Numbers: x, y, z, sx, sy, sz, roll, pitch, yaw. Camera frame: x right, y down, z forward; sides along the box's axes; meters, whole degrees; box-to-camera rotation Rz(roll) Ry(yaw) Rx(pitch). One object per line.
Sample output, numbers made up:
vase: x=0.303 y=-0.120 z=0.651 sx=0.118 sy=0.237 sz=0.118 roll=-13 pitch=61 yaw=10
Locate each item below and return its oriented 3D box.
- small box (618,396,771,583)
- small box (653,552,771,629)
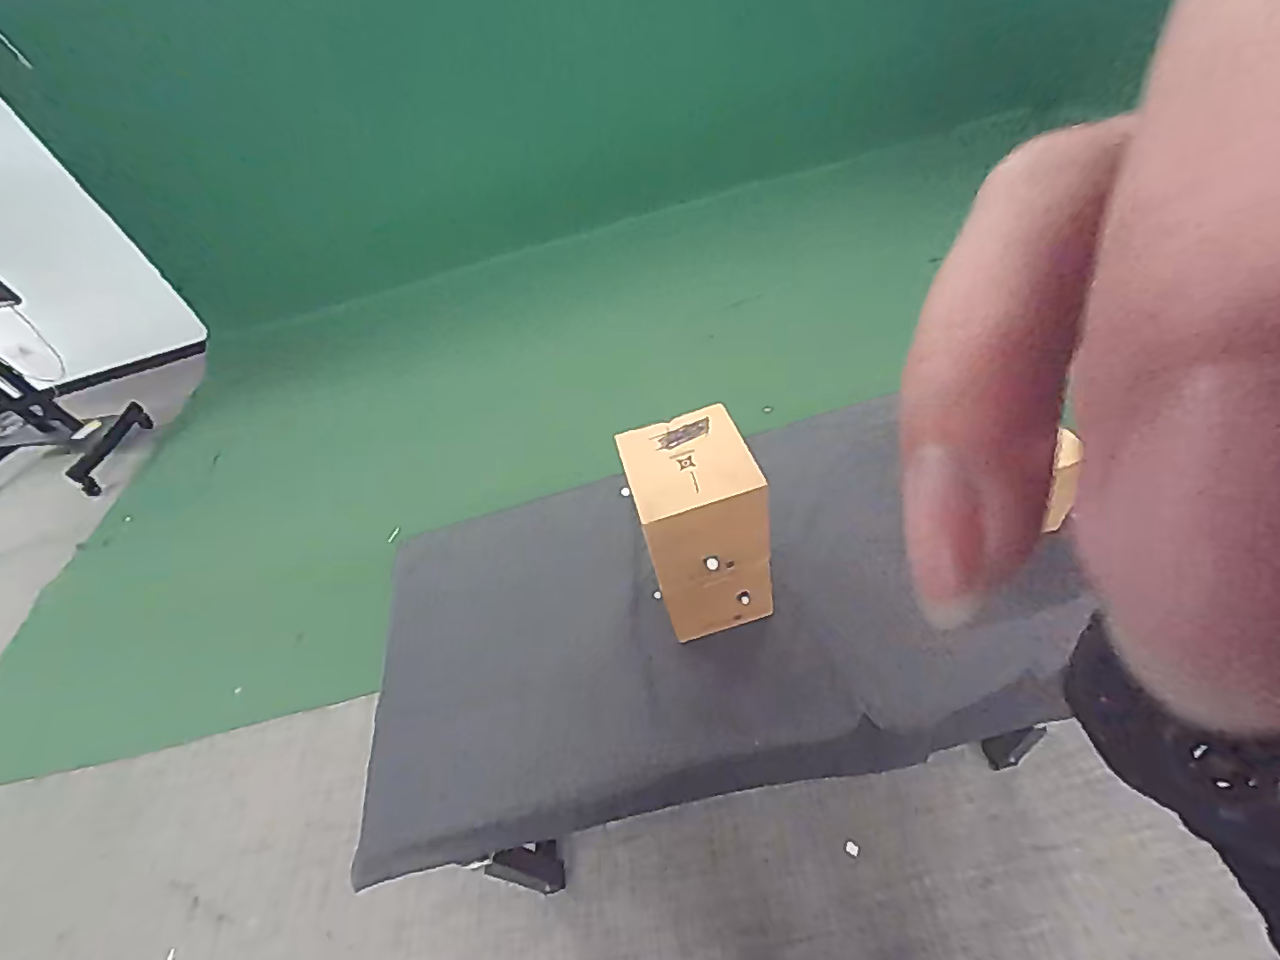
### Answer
small box: x=0.077 y=0.015 z=0.769 sx=0.168 sy=0.176 sz=0.179 roll=-17 pitch=47 yaw=-1
small box: x=0.108 y=0.124 z=0.888 sx=0.168 sy=0.176 sz=0.179 roll=-17 pitch=45 yaw=-1
